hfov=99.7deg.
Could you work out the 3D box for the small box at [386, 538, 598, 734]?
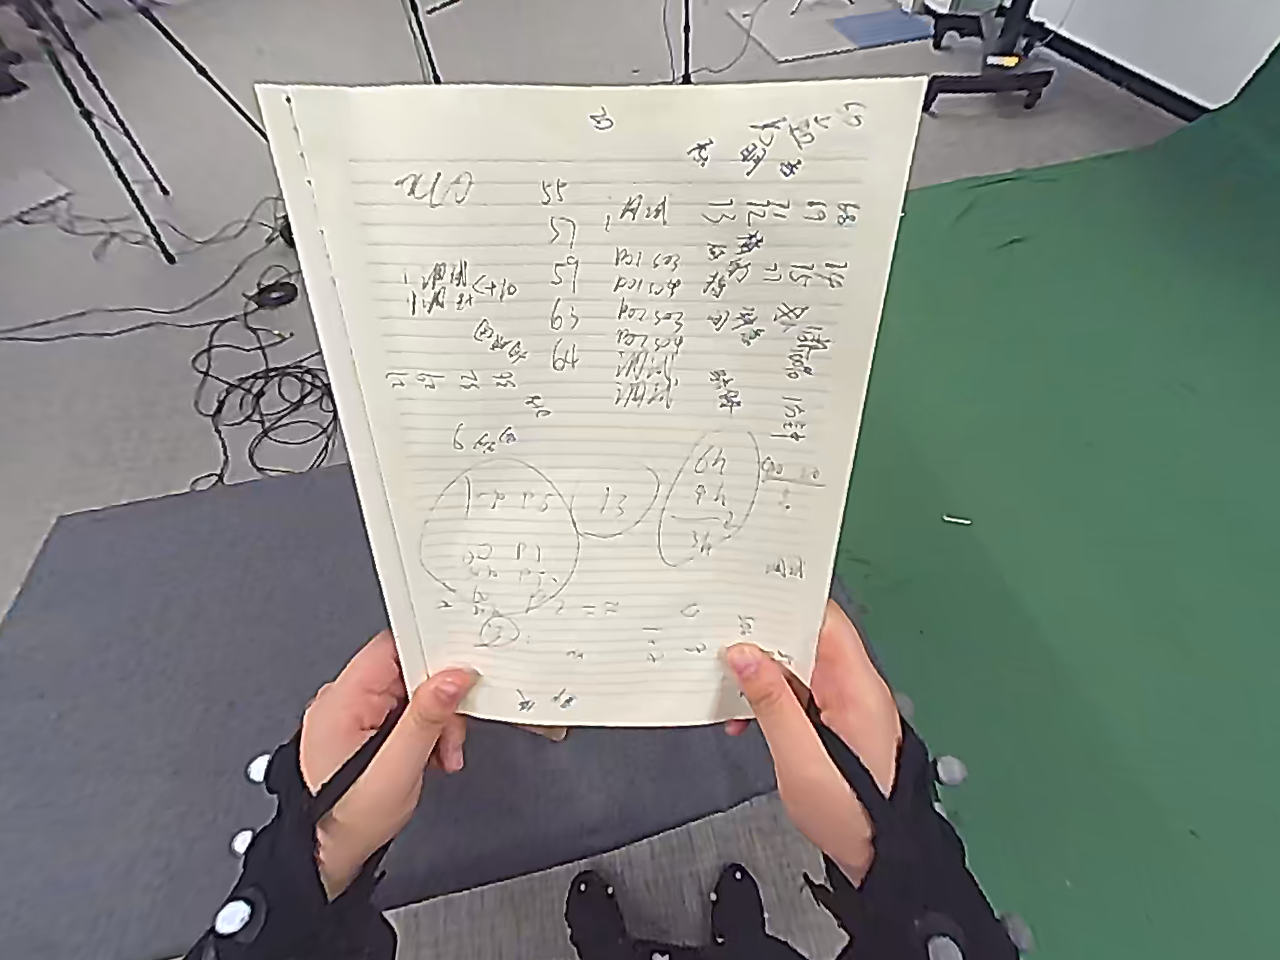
[{"bbox_3d":[-0.162,0.197,0.667,0.179,0.176,0.168,11,57,13],"label":"small box"}]
